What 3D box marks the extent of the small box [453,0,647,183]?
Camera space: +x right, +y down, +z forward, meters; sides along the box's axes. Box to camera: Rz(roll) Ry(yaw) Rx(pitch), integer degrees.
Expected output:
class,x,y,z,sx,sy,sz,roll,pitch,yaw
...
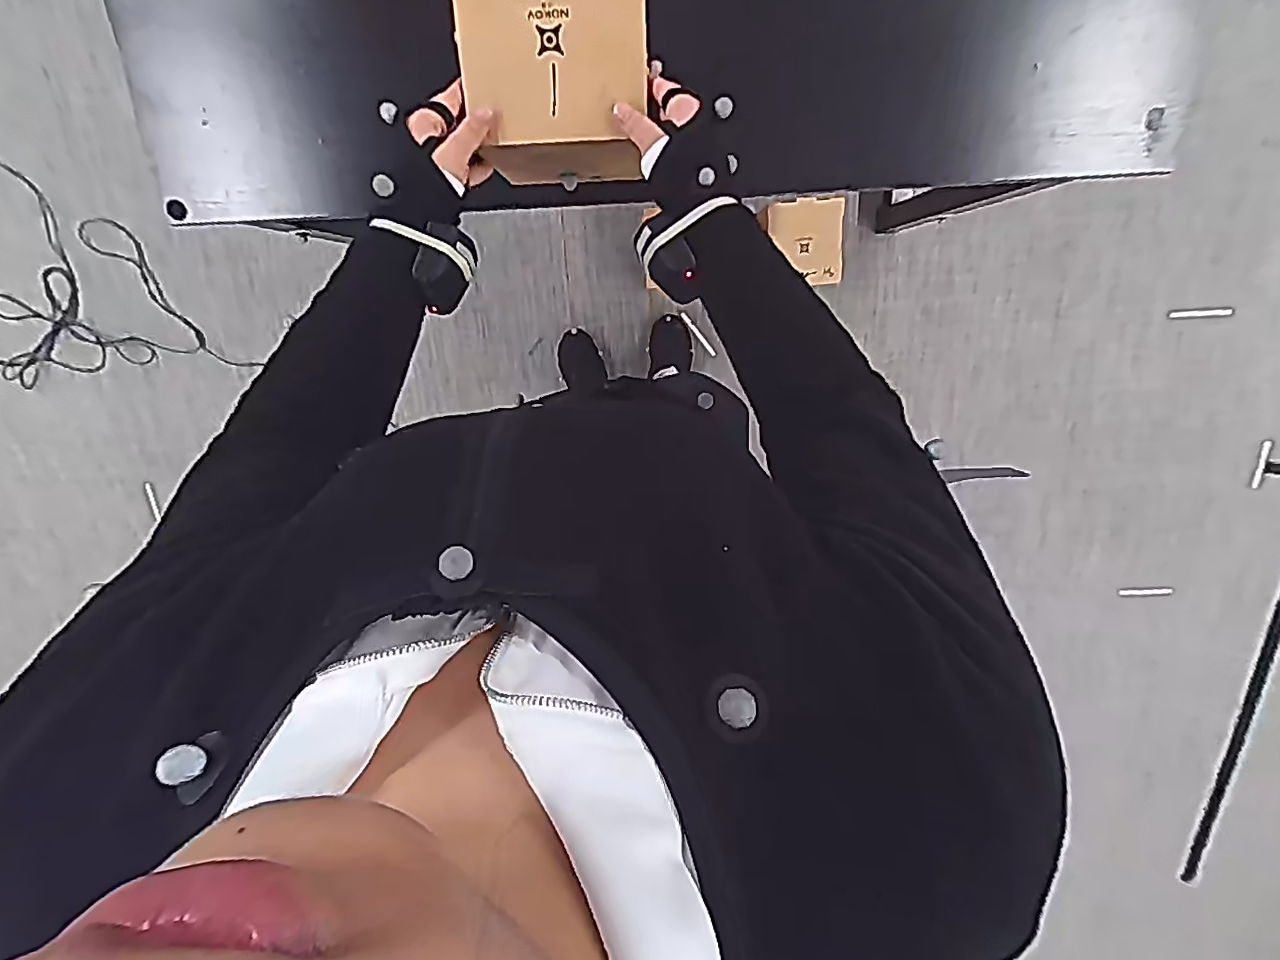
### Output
class,x,y,z,sx,sy,sz,roll,pitch,yaw
small box,-0.078,-0.415,0.542,0.168,0.176,0.179,-2,108,2

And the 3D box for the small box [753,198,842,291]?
class,x,y,z,sx,sy,sz,roll,pitch,yaw
small box,0.359,-0.541,1.260,0.168,0.176,0.179,-3,107,2

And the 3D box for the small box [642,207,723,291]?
class,x,y,z,sx,sy,sz,roll,pitch,yaw
small box,0.096,-0.535,1.268,0.179,0.176,0.168,-3,107,3
